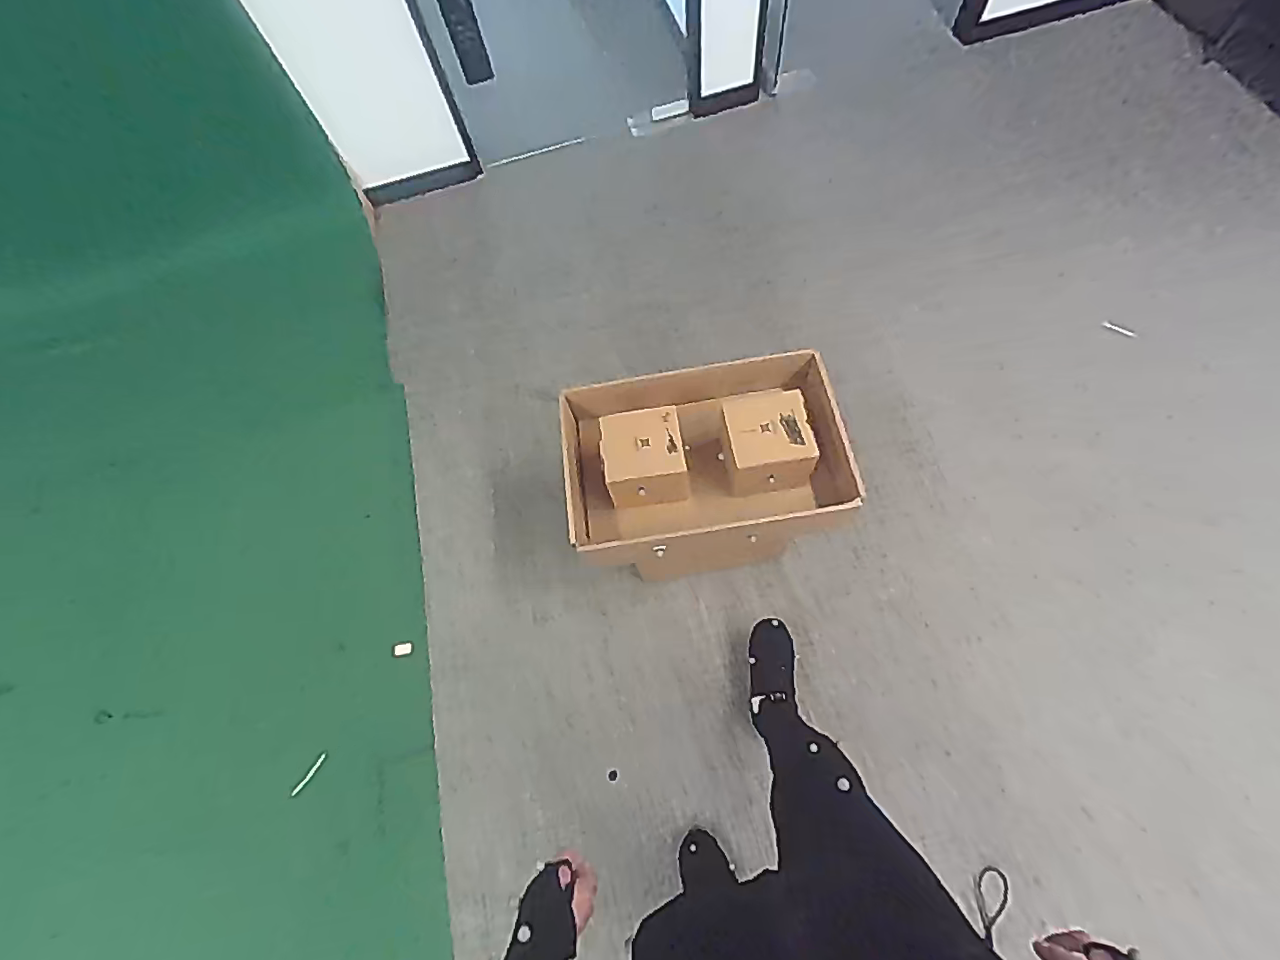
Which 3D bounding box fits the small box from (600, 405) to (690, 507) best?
[{"bbox_3d":[0.014,-0.048,1.227,0.179,0.176,0.168,-8,66,3],"label":"small box"}]
